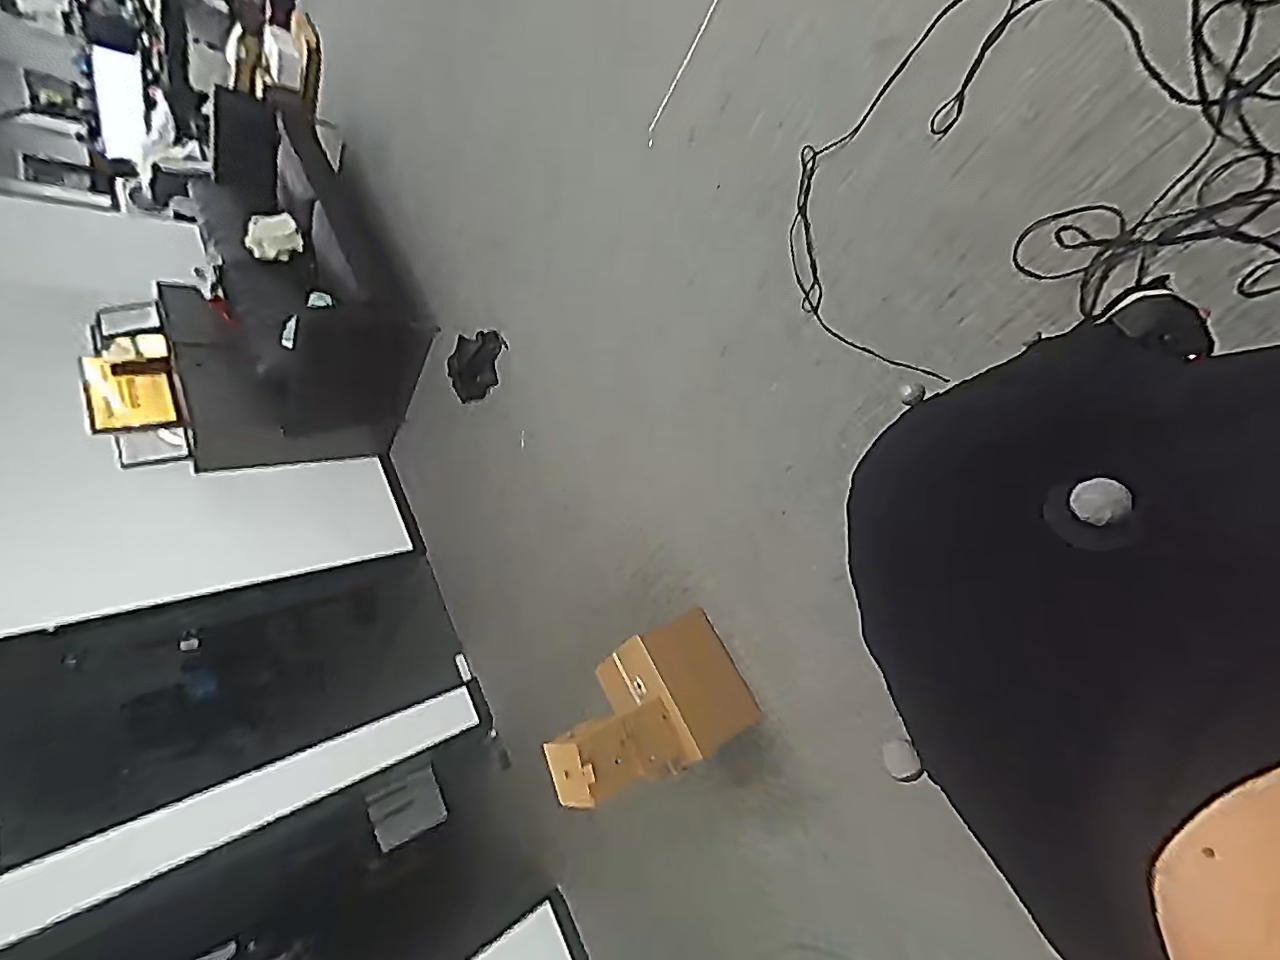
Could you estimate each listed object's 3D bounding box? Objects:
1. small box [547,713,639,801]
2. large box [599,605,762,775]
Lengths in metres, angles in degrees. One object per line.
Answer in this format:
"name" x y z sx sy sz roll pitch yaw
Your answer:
"small box" -0.132 0.775 1.526 0.179 0.176 0.168 -31 74 45
"large box" 0.130 0.698 1.832 0.320 0.320 0.408 -49 61 39
